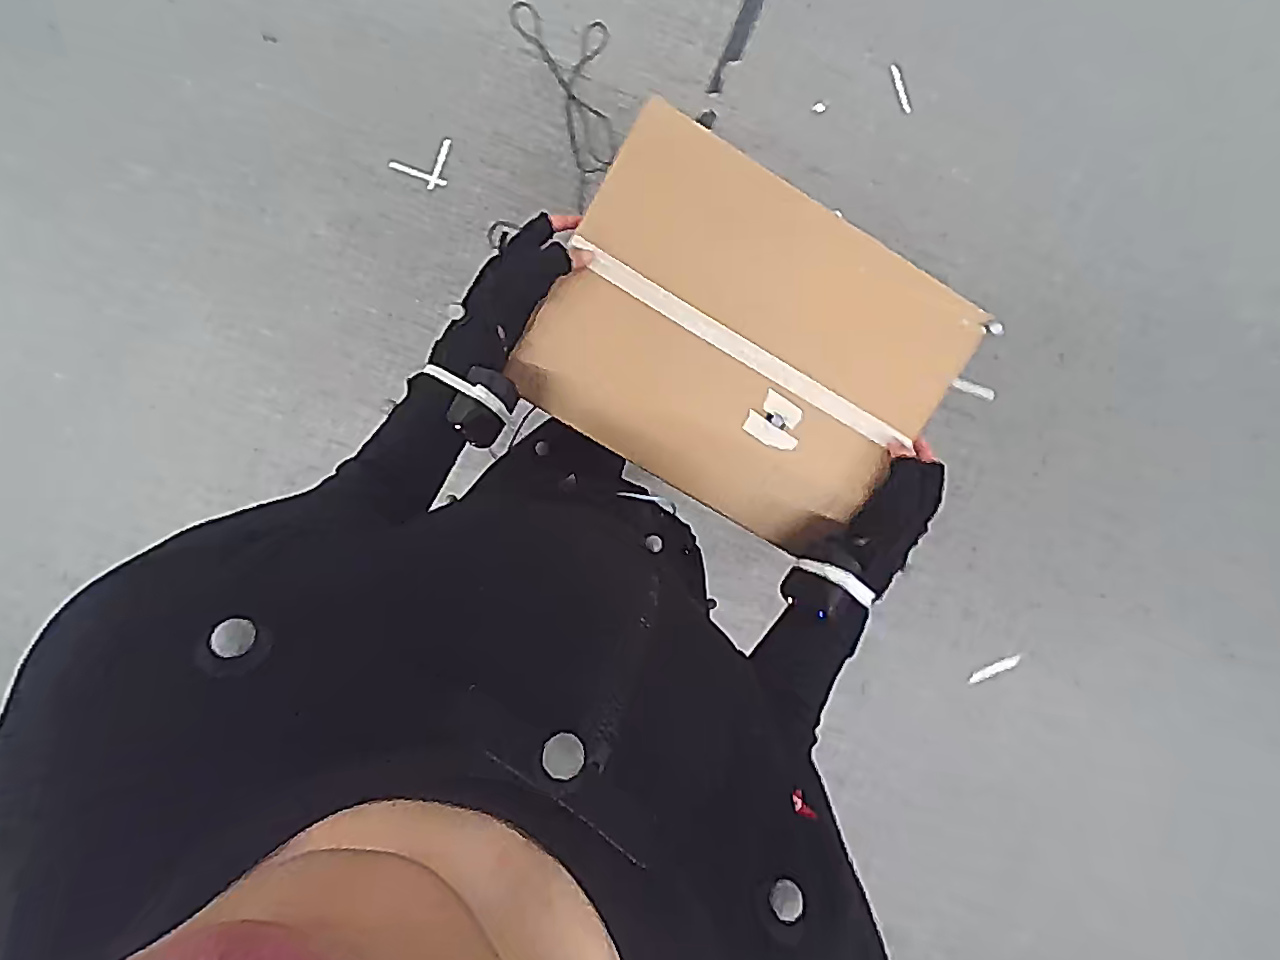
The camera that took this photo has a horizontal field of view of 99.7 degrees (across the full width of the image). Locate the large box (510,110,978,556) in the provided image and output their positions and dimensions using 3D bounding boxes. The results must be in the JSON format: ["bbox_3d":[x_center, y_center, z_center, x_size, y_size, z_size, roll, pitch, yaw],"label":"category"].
[{"bbox_3d":[0.103,-0.164,0.710,0.408,0.320,0.320,31,99,-6],"label":"large box"}]
